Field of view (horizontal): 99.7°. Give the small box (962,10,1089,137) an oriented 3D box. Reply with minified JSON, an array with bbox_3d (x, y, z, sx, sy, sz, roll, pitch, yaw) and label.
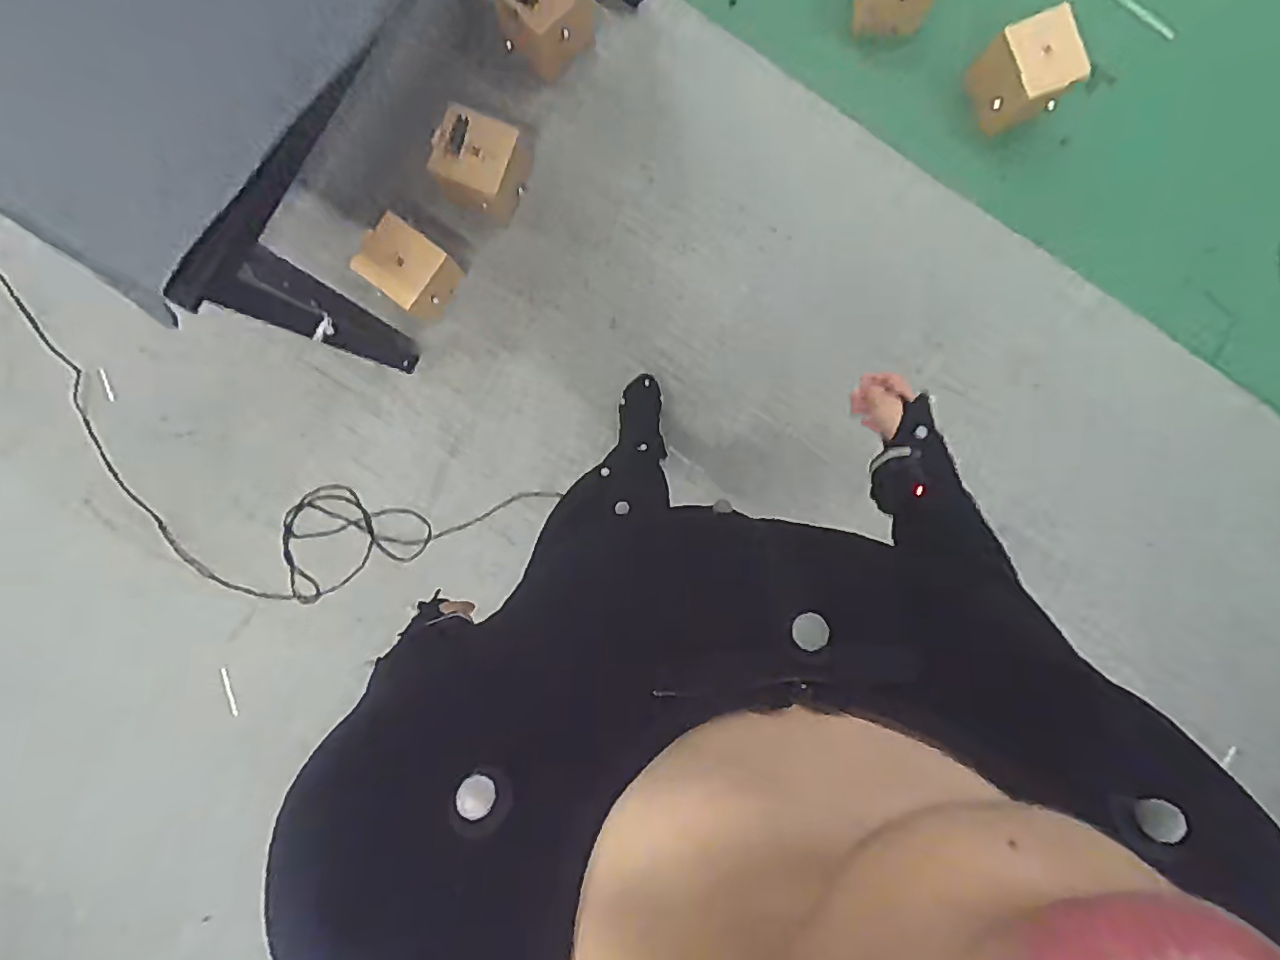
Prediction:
[{"bbox_3d":[0.954,-0.998,1.351,0.168,0.176,0.179,-23,92,-1],"label":"small box"}]

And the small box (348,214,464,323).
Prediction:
[{"bbox_3d":[-0.570,-0.514,1.347,0.179,0.176,0.168,37,92,-2],"label":"small box"}]

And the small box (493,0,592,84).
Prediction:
[{"bbox_3d":[-0.230,-1.132,1.322,0.179,0.176,0.168,-45,93,0],"label":"small box"}]

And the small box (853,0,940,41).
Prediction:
[{"bbox_3d":[0.641,-1.242,1.335,0.168,0.176,0.179,1,92,-1],"label":"small box"}]
